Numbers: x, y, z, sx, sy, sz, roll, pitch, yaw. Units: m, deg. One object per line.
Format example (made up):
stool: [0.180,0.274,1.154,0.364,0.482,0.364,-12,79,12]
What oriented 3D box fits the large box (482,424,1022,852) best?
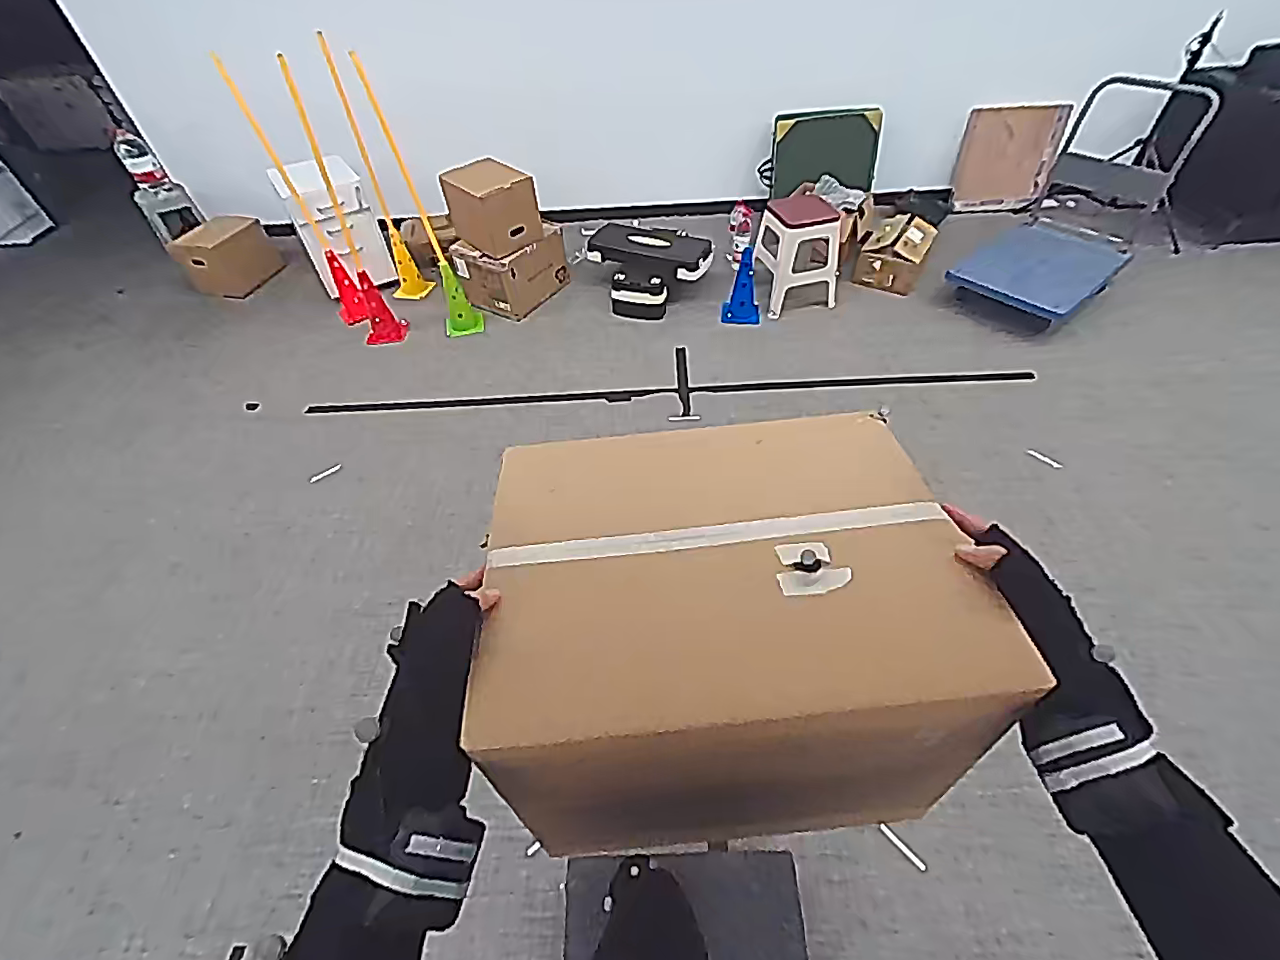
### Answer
large box: [0.079,0.170,0.594,0.408,0.320,0.320,-6,44,0]
